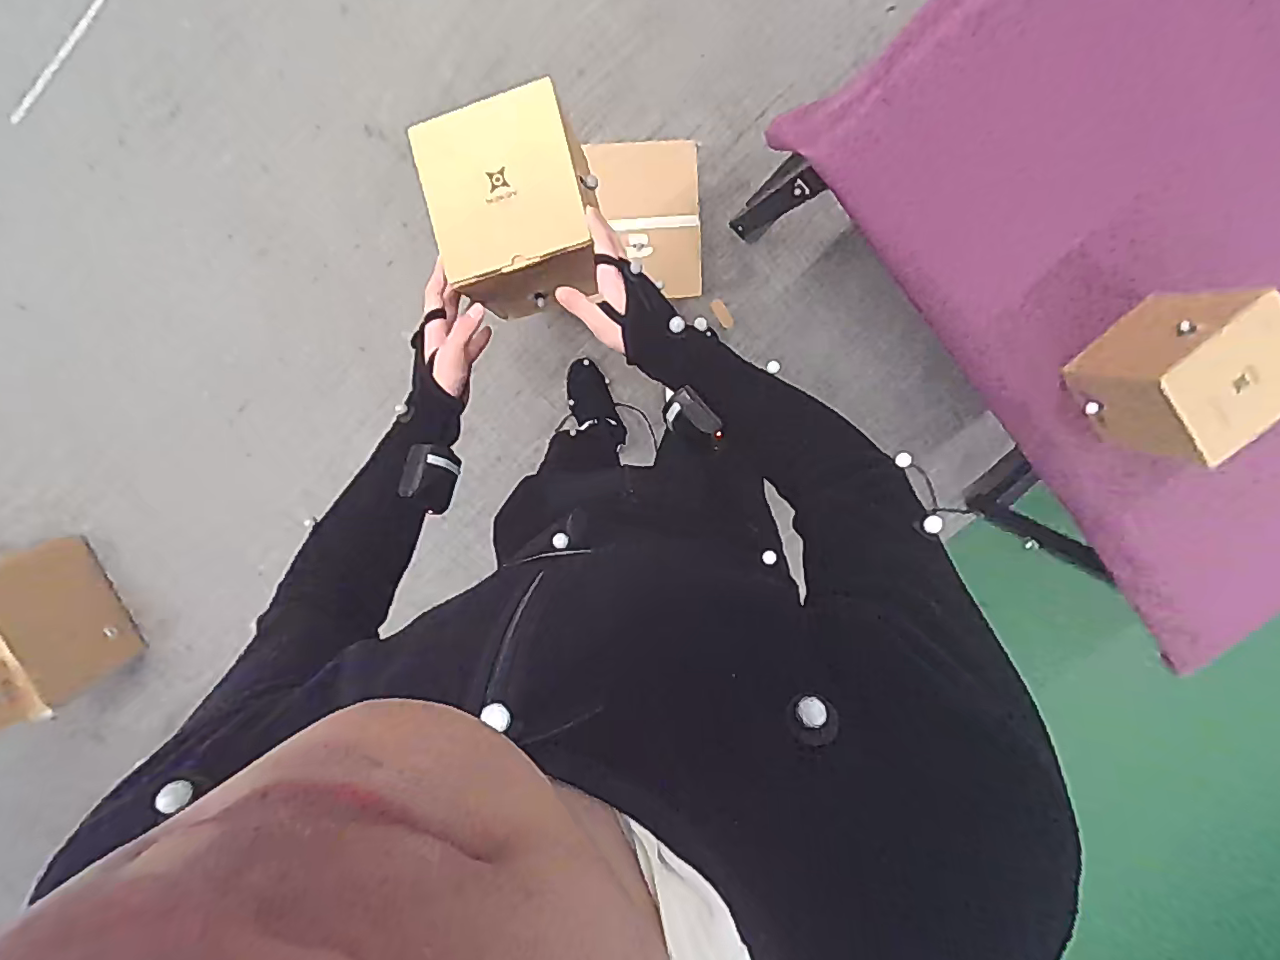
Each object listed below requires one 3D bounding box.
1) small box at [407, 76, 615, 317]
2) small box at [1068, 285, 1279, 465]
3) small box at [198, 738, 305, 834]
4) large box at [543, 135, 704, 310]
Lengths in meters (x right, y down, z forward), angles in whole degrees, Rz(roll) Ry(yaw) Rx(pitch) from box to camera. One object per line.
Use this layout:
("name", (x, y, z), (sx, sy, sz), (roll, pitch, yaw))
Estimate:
("small box", (-0.137, -0.312, 0.637), (0.168, 0.176, 0.179), (-15, 94, 8))
("small box", (0.779, -0.153, 0.769), (0.179, 0.176, 0.168), (-42, 104, 8))
("small box", (-1.206, 0.947, 1.692), (0.179, 0.176, 0.168), (41, 100, -14))
("large box", (-0.080, -0.584, 1.284), (0.408, 0.320, 0.320), (-5, 108, -3))
